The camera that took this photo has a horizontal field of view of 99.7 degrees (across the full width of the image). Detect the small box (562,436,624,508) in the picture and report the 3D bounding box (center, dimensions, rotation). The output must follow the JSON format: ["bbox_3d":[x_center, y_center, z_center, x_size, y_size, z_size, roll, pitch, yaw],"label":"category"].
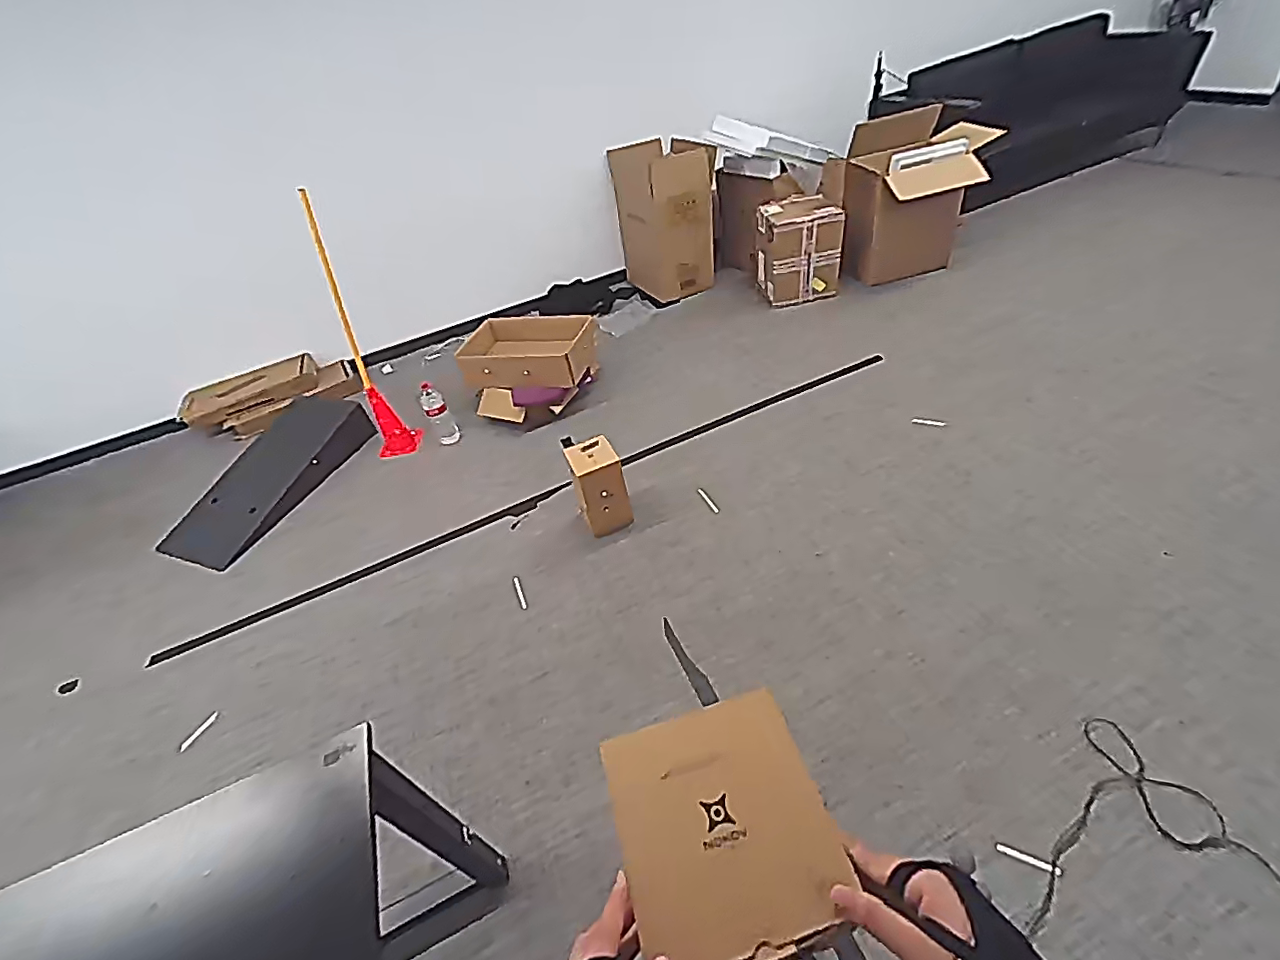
[{"bbox_3d":[-0.173,-0.028,2.004,0.168,0.176,0.179,-22,44,-12],"label":"small box"}]

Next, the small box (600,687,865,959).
[{"bbox_3d":[0.073,0.326,0.488,0.168,0.176,0.179,-16,44,-7],"label":"small box"}]

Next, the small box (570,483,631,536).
[{"bbox_3d":[-0.154,0.090,2.117,0.179,0.176,0.168,-22,43,-12],"label":"small box"}]
